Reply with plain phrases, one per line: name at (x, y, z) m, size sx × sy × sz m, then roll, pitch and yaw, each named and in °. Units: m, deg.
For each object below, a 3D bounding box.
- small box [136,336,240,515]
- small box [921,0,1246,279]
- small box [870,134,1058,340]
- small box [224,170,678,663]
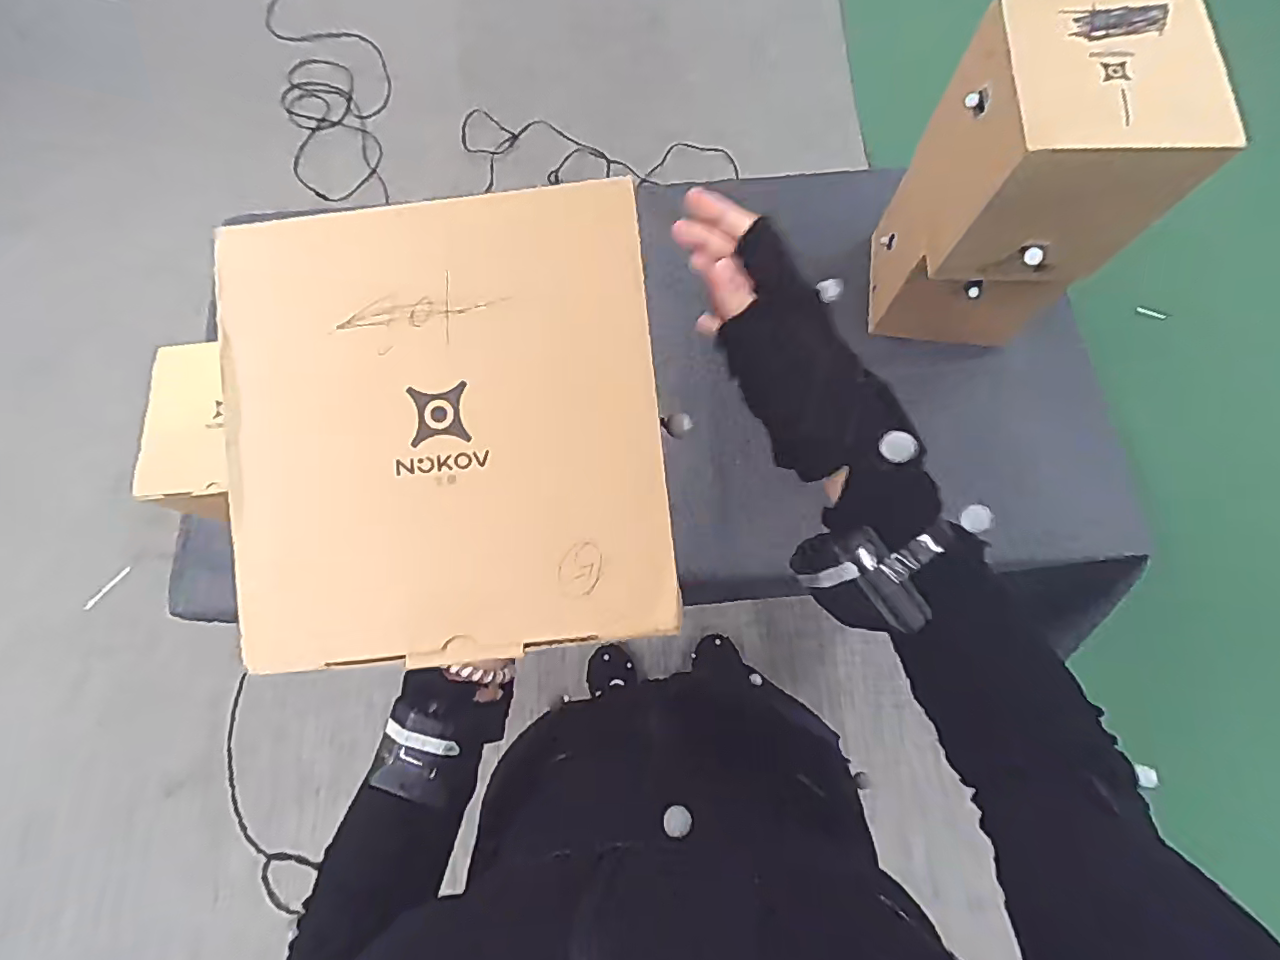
small box at (-0.432, -0.055, 0.644) m, size 0.168 × 0.176 × 0.179 m, roll -6°, pitch 74°, yaw 0°
small box at (0.391, -0.320, 0.518) m, size 0.168 × 0.176 × 0.179 m, roll 1°, pitch 75°, yaw 3°
small box at (0.406, -0.294, 0.680) m, size 0.179 × 0.176 × 0.168 m, roll 8°, pitch 75°, yaw 4°
small box at (-0.069, -0.021, 0.283) m, size 0.168 × 0.176 × 0.179 m, roll -6°, pitch 87°, yaw 1°
